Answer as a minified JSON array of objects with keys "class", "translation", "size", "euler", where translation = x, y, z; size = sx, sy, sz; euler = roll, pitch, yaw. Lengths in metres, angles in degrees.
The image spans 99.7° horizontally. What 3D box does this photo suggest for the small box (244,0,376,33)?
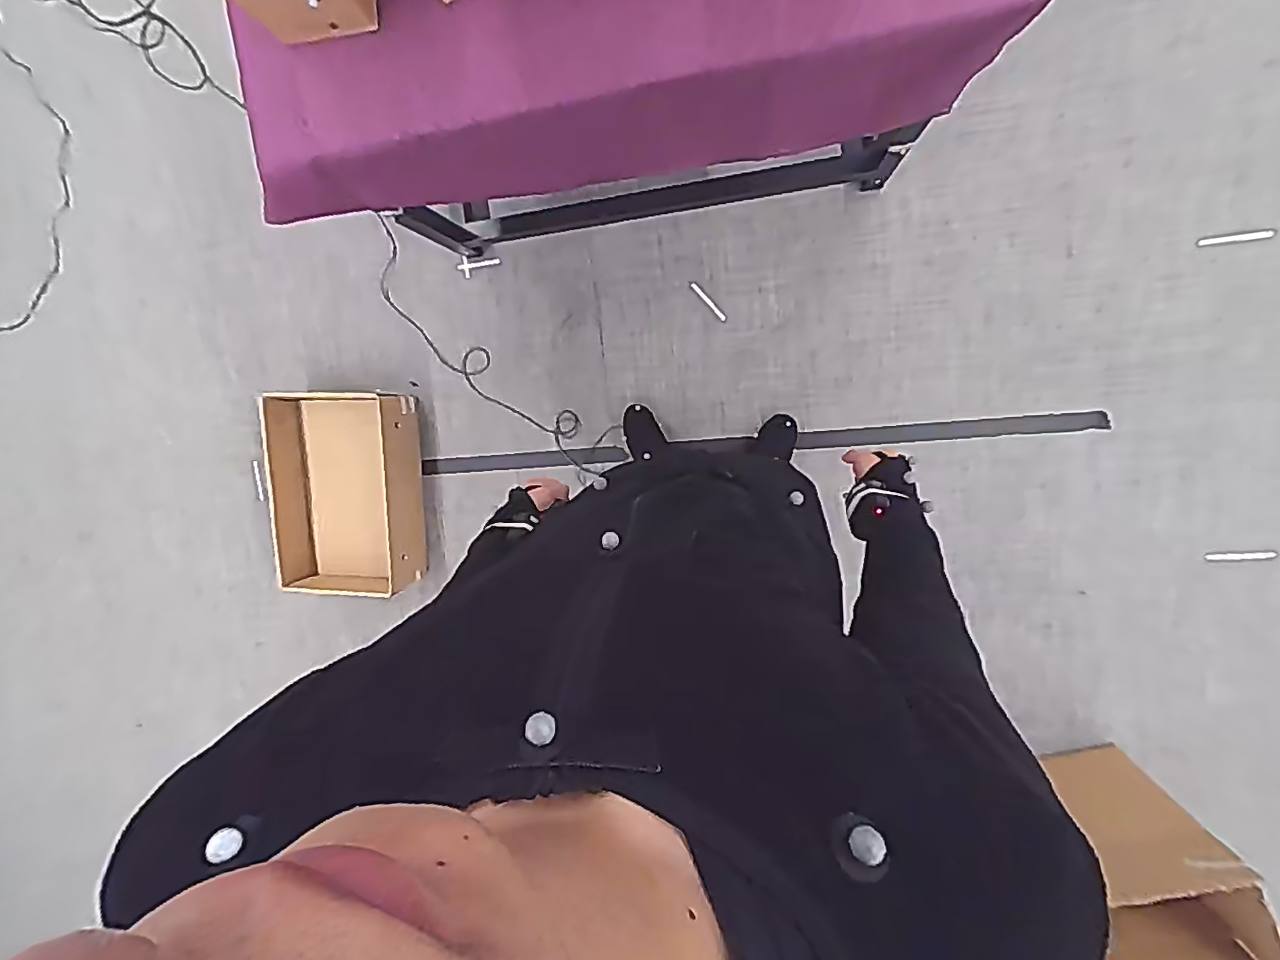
[{"class":"small box","translation":[-0.503,-0.783,0.771],"size":[0.168,0.176,0.179],"euler":[0,99,9]}]
